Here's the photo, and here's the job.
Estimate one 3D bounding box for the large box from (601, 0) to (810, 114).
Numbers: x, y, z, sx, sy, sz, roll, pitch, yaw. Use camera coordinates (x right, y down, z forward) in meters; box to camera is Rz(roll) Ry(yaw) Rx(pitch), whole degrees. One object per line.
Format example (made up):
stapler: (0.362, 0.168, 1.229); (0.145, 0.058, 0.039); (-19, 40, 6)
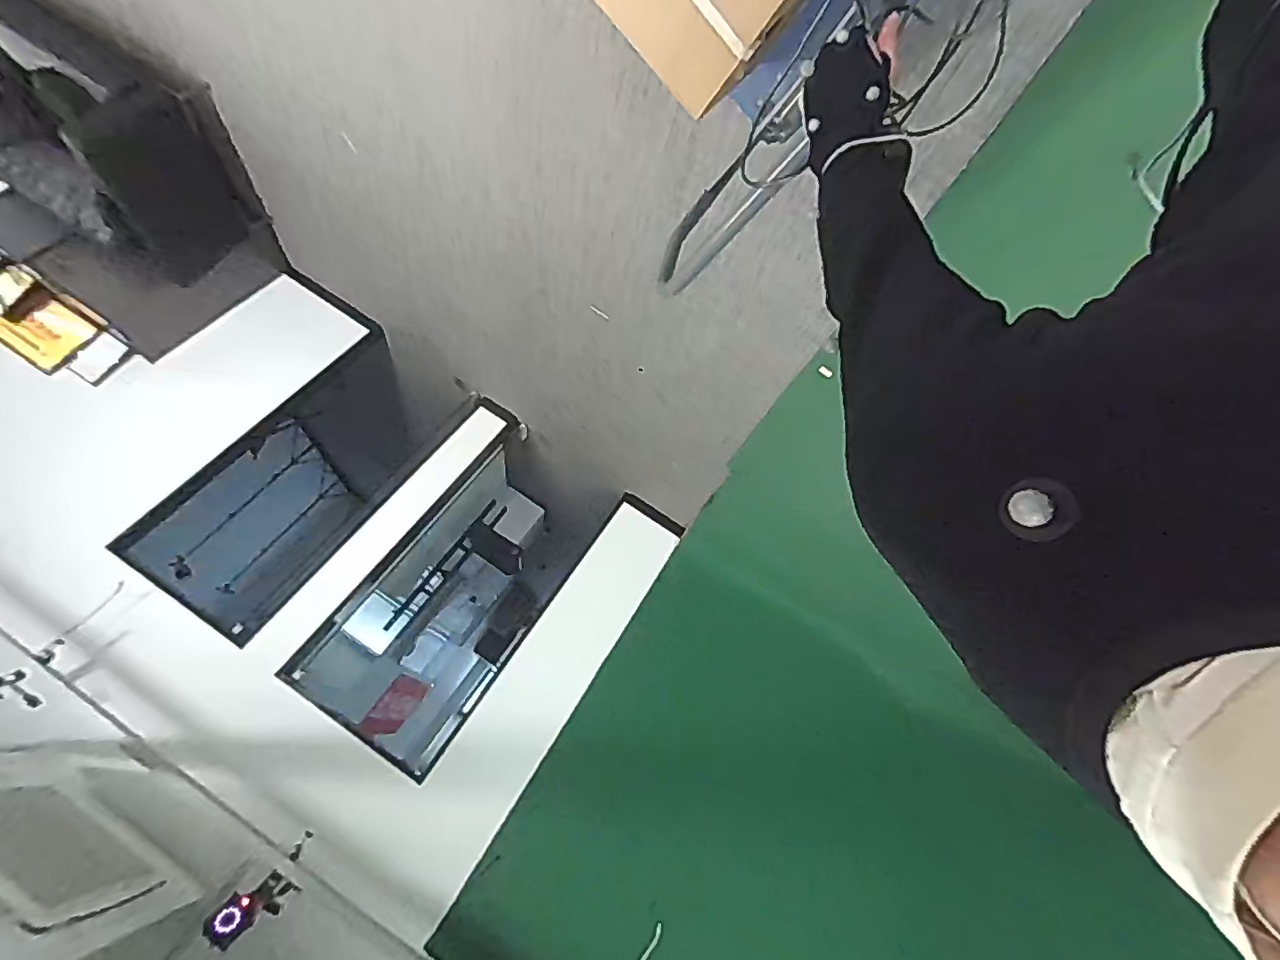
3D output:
large box: (0.127, -0.981, 0.954); (0.408, 0.320, 0.320); (44, 152, -14)
